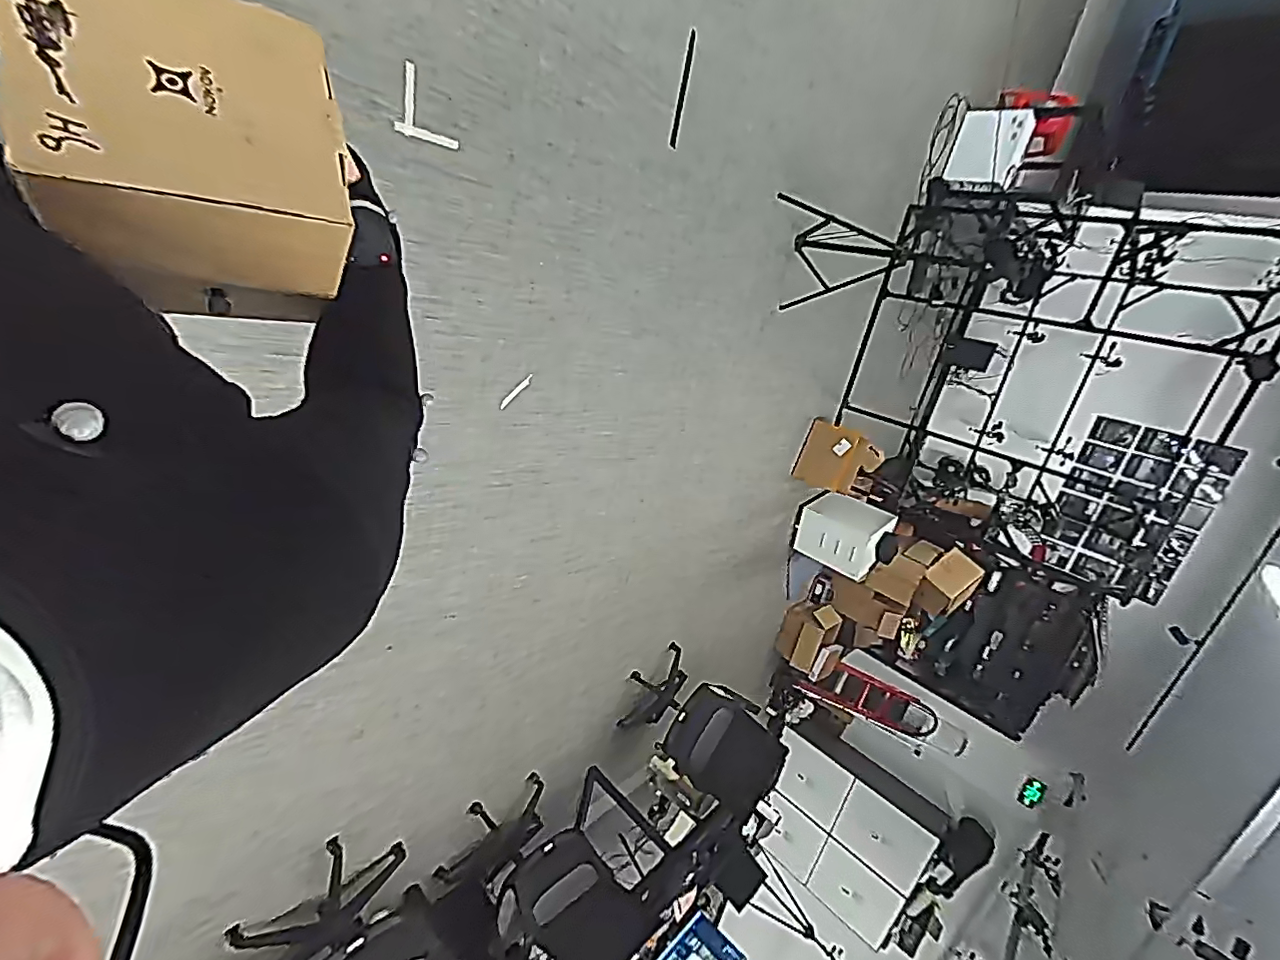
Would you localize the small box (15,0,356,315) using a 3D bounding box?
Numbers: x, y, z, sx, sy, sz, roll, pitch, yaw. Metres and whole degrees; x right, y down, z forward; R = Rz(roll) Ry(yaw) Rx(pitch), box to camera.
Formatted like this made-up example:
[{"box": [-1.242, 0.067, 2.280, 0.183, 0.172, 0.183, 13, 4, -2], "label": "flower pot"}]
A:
[{"box": [-0.351, -0.249, 0.438, 0.179, 0.176, 0.168, -7, 82, -38], "label": "small box"}]
